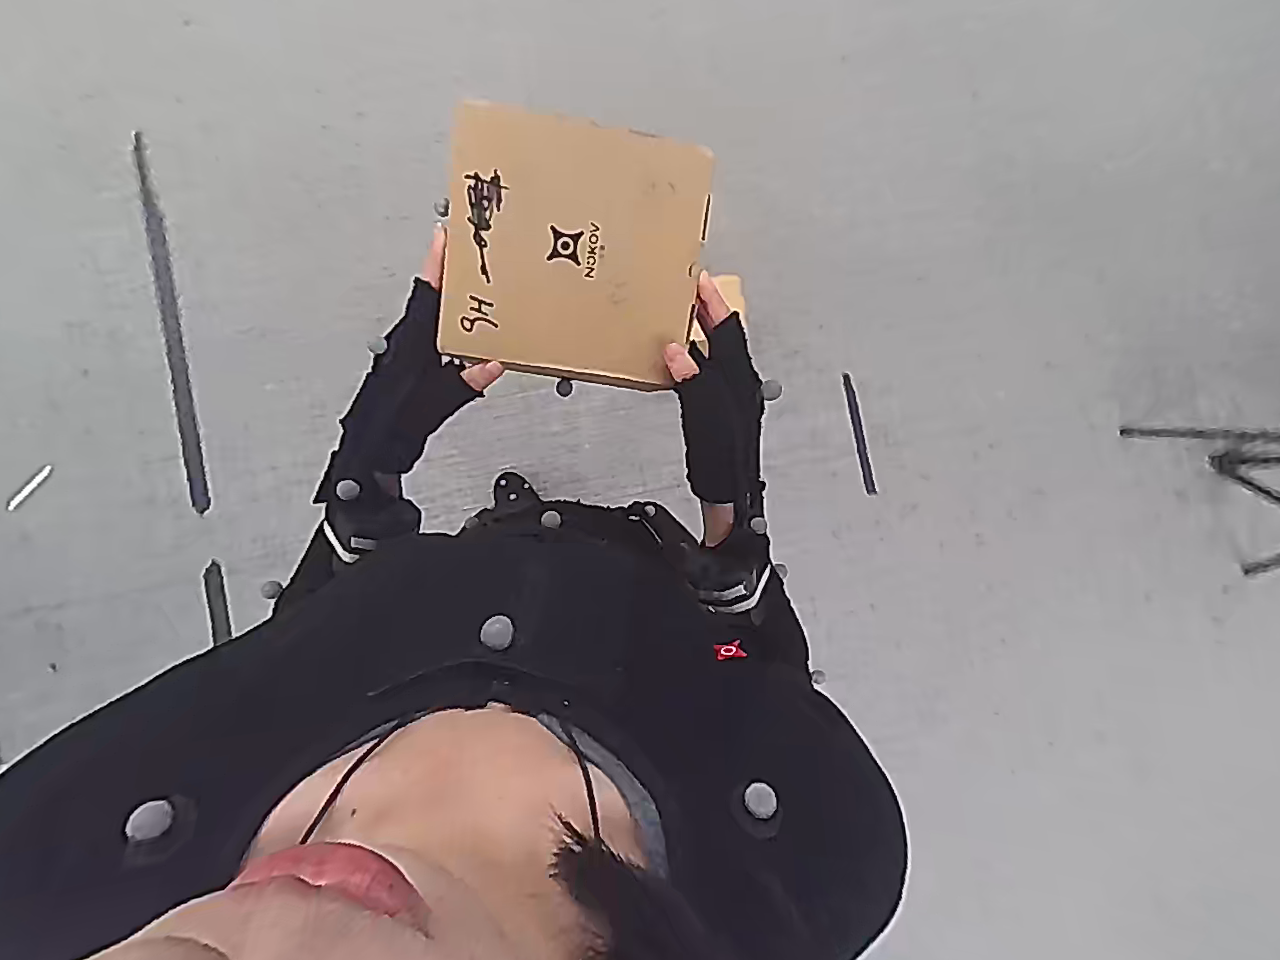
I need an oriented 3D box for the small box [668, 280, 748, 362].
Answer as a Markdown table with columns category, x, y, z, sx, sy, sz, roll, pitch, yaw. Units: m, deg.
| category | x | y | z | sx | sy | sz | roll | pitch | yaw |
| --- | --- | --- | --- | --- | --- | --- | --- | --- | --- |
| small box | 0.181 | -0.430 | 1.482 | 0.179 | 0.176 | 0.168 | -7 | 87 | -3 |
